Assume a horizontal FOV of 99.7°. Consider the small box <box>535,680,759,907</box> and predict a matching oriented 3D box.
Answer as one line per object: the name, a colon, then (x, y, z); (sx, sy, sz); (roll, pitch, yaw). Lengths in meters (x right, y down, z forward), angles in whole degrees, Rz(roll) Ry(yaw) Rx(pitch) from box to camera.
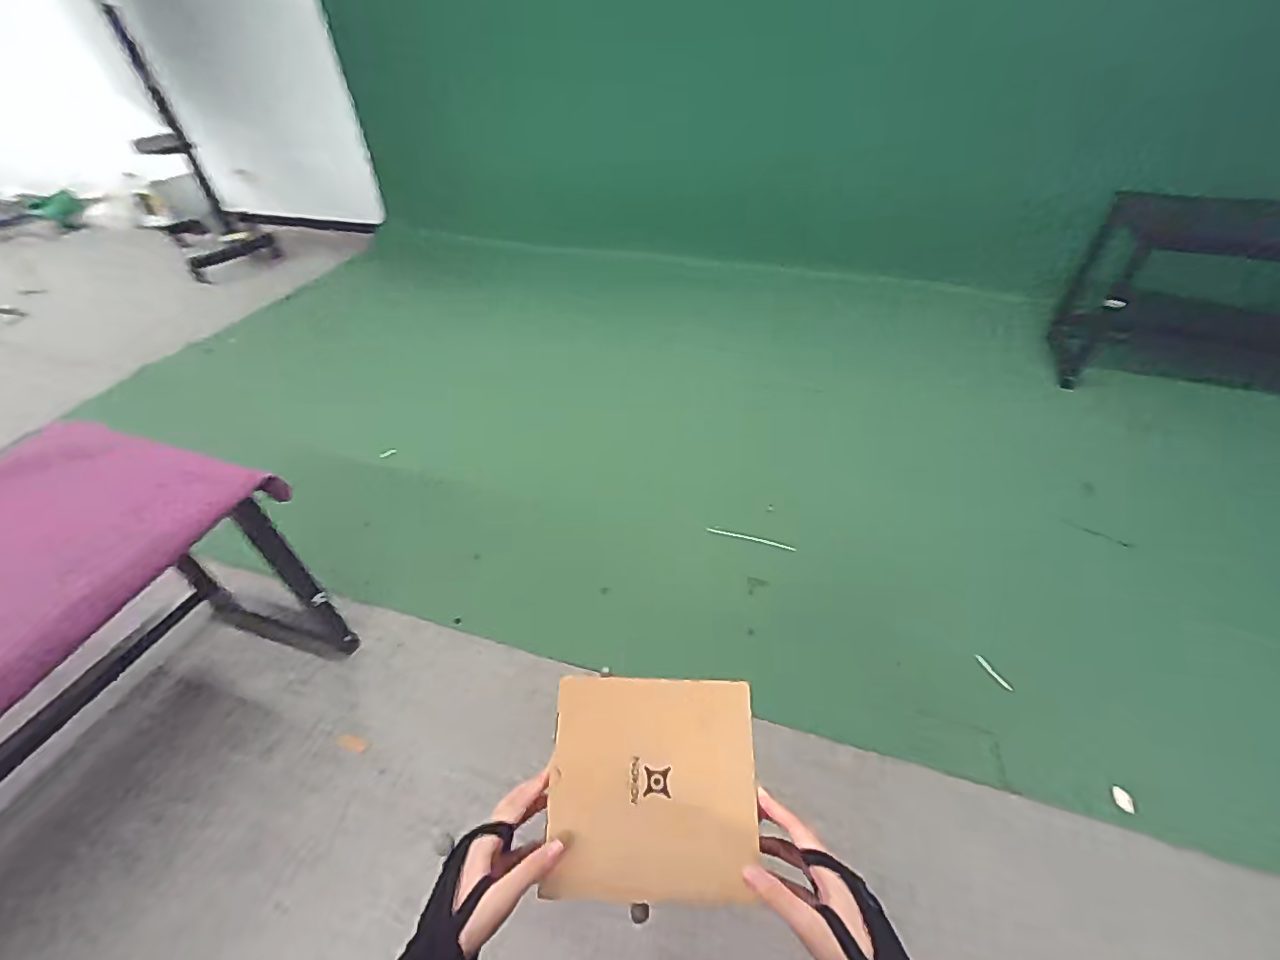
small box: (0.010, 0.296, 0.525); (0.179, 0.176, 0.168); (-2, 59, 4)
